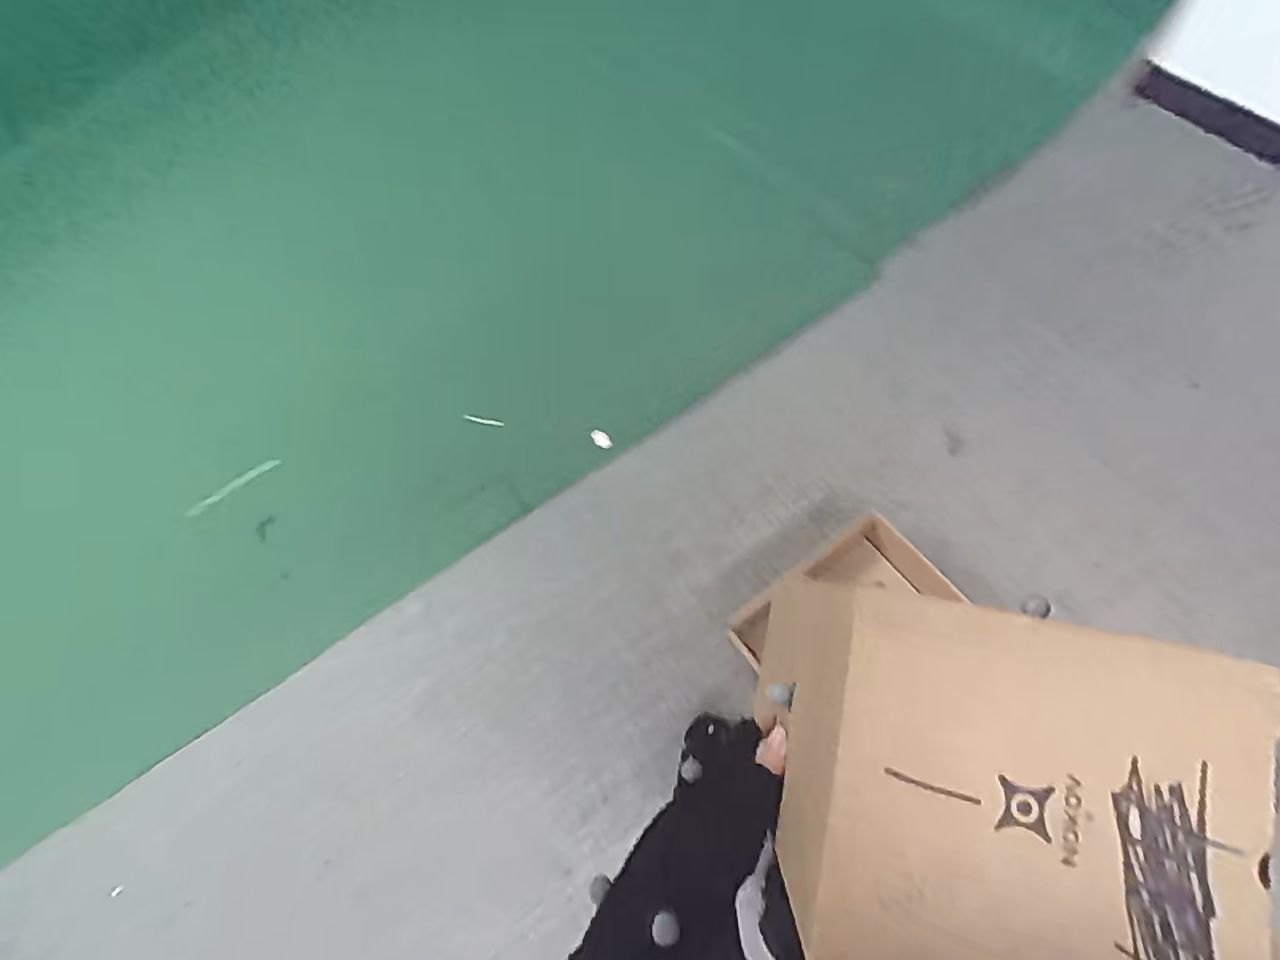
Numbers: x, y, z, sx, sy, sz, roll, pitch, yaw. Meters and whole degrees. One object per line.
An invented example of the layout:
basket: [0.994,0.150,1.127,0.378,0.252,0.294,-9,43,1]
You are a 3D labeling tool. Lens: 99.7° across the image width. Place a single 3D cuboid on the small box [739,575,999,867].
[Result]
small box: [0.176,0.179,0.464,0.168,0.176,0.179,5,81,8]
